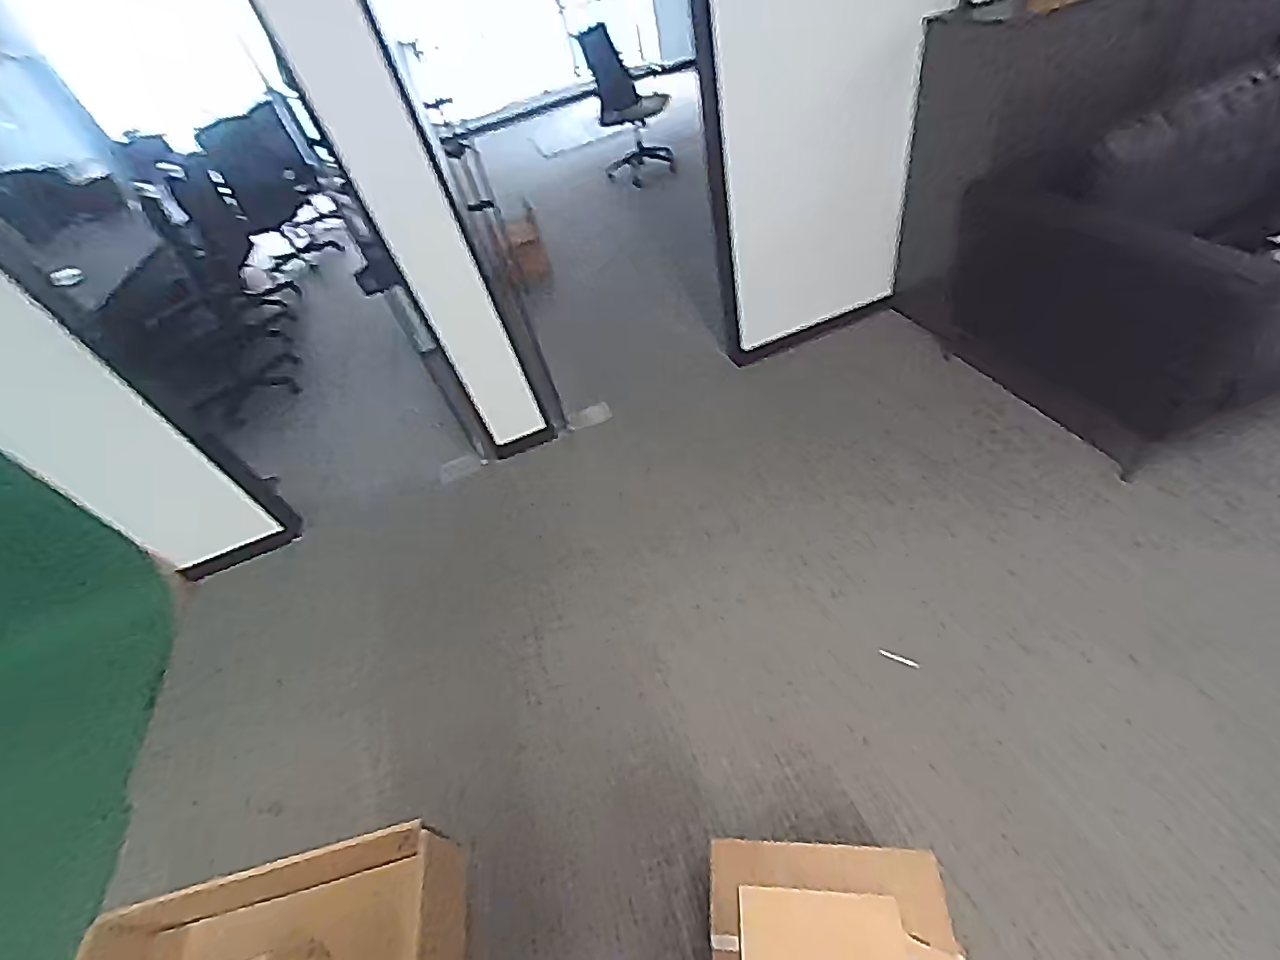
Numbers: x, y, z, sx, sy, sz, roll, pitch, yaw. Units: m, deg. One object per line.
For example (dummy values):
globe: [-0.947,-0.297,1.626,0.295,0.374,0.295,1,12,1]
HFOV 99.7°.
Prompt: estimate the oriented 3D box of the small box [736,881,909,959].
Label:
small box: [0.188,0.552,0.567,0.168,0.176,0.179,-2,43,8]

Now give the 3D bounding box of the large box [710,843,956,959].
large box: [0.353,0.897,1.010,0.408,0.320,0.320,-5,45,12]
